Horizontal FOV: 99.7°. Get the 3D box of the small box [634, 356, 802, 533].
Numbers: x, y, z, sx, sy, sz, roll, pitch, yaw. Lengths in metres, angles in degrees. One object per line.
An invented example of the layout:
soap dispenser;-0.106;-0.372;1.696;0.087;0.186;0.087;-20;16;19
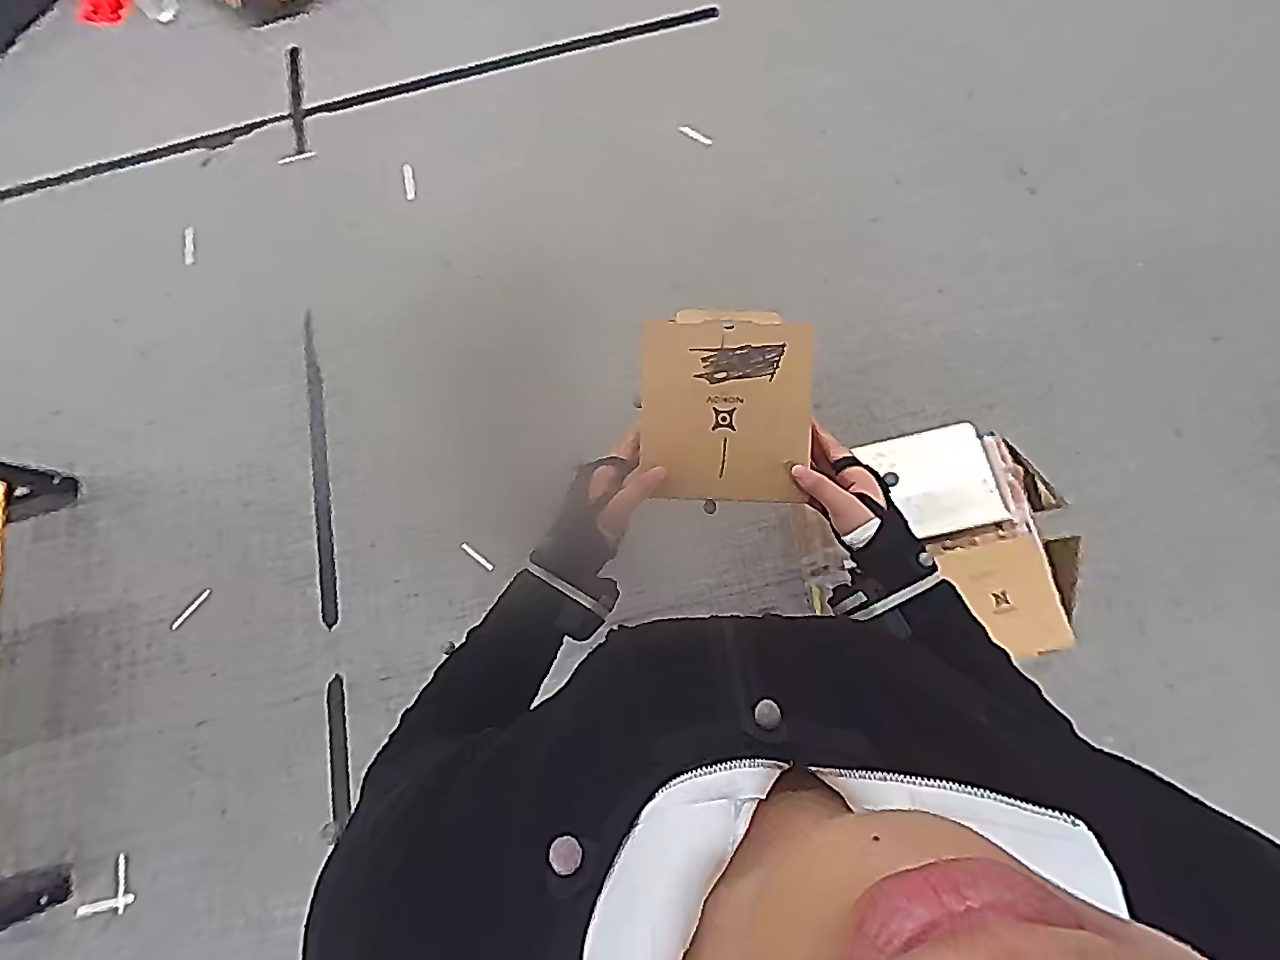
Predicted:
small box;0.082;-0.034;0.617;0.168;0.176;0.179;1;89;4
